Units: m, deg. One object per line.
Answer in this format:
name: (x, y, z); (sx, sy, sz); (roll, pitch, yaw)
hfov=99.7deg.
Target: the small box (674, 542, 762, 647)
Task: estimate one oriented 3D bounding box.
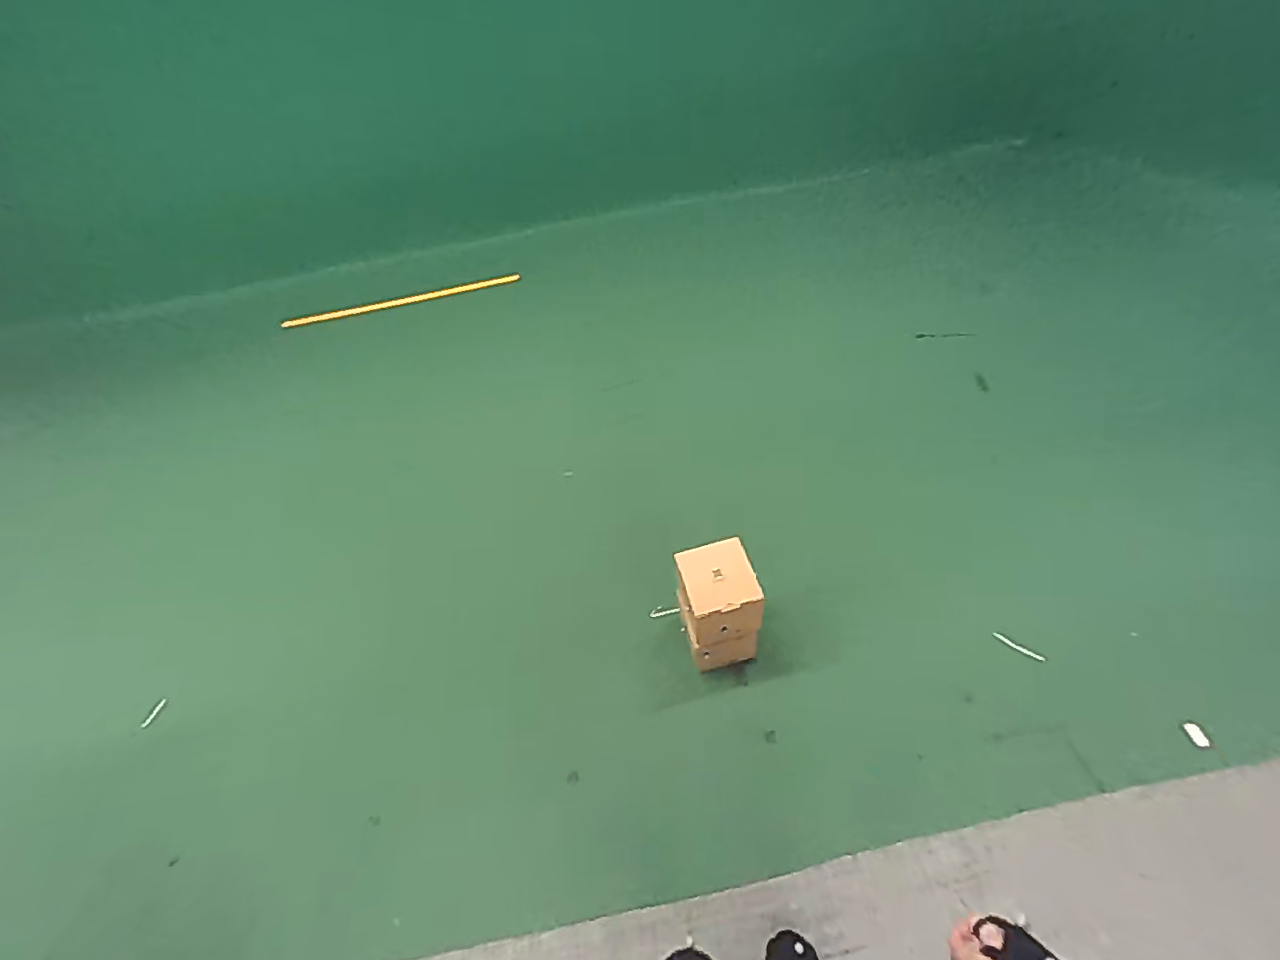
small box: (0.186, 0.283, 1.332); (0.168, 0.176, 0.179); (-14, 51, -5)
